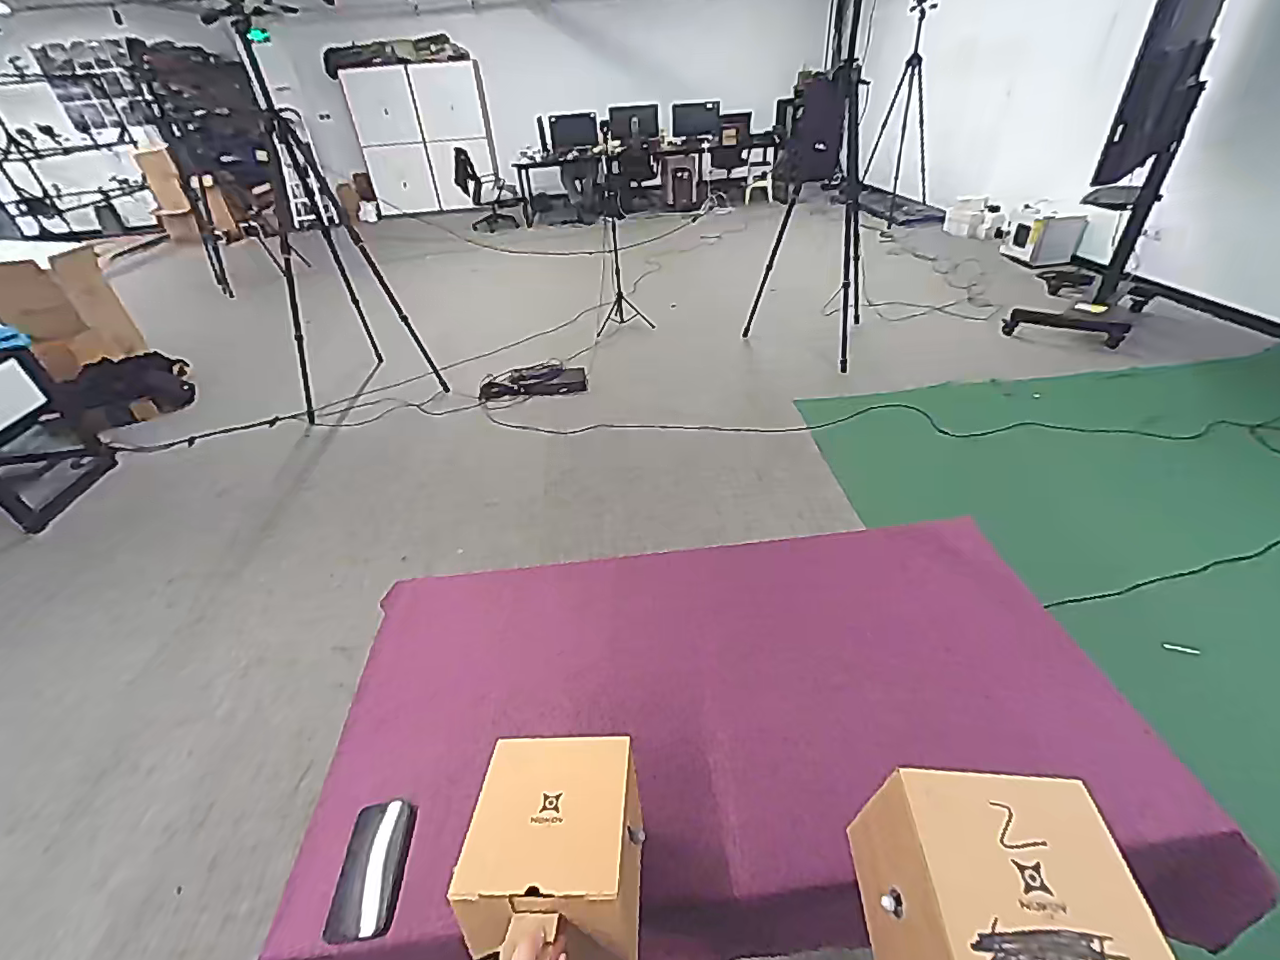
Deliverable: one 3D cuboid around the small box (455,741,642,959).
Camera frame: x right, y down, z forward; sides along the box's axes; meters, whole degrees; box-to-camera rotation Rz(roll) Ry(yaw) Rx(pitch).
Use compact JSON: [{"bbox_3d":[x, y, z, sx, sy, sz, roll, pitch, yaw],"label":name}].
[{"bbox_3d":[-0.087,0.428,0.613,0.168,0.176,0.179,-2,26,5],"label":"small box"}]
